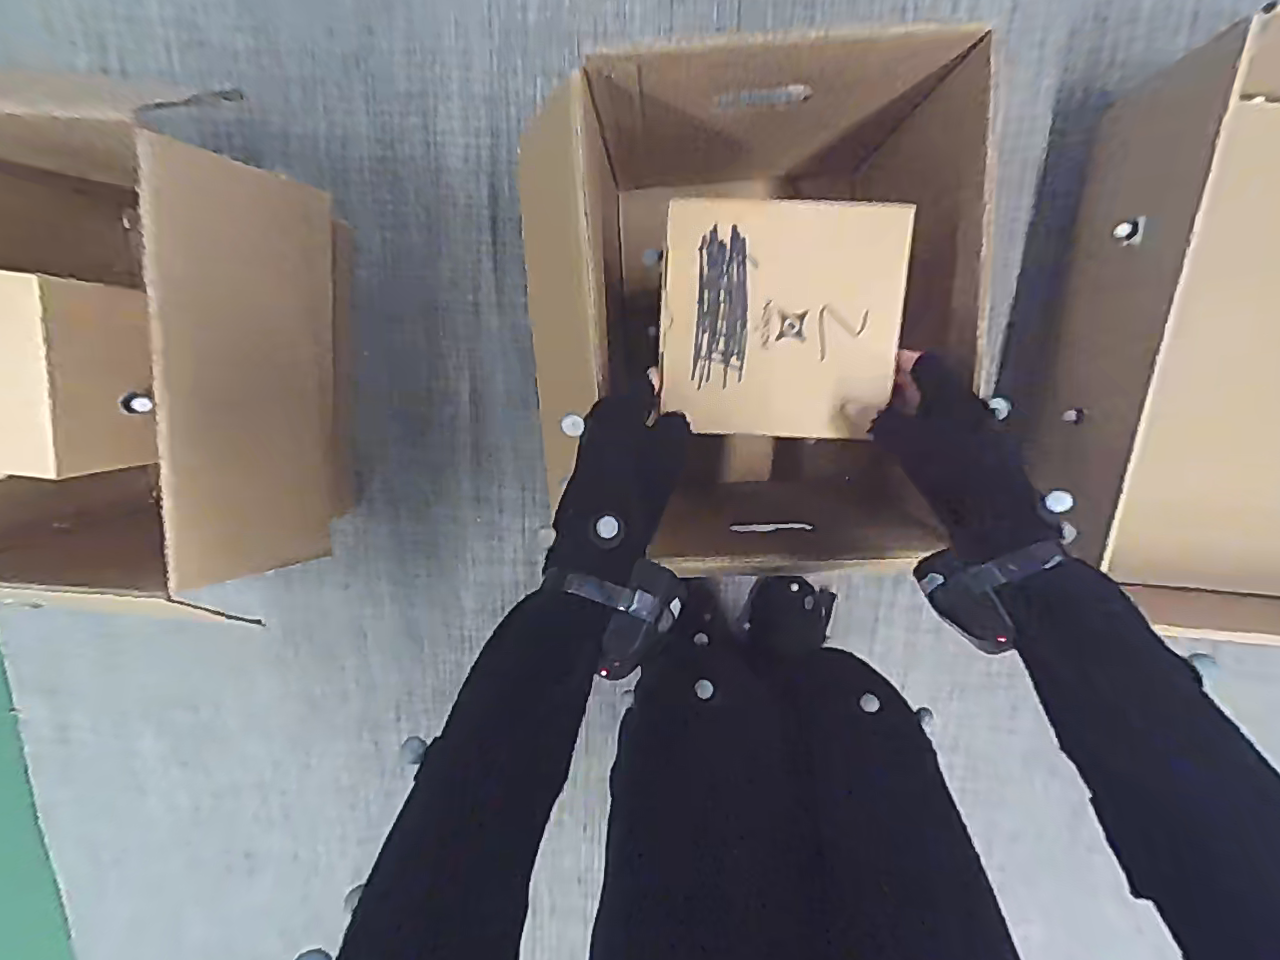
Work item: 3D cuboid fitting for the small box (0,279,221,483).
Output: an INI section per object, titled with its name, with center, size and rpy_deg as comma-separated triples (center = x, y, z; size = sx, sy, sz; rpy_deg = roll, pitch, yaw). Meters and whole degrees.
[small box]
center = -0.550, -0.101, 0.526
size = 0.179, 0.176, 0.168
rpy_deg = 7, 100, 0
